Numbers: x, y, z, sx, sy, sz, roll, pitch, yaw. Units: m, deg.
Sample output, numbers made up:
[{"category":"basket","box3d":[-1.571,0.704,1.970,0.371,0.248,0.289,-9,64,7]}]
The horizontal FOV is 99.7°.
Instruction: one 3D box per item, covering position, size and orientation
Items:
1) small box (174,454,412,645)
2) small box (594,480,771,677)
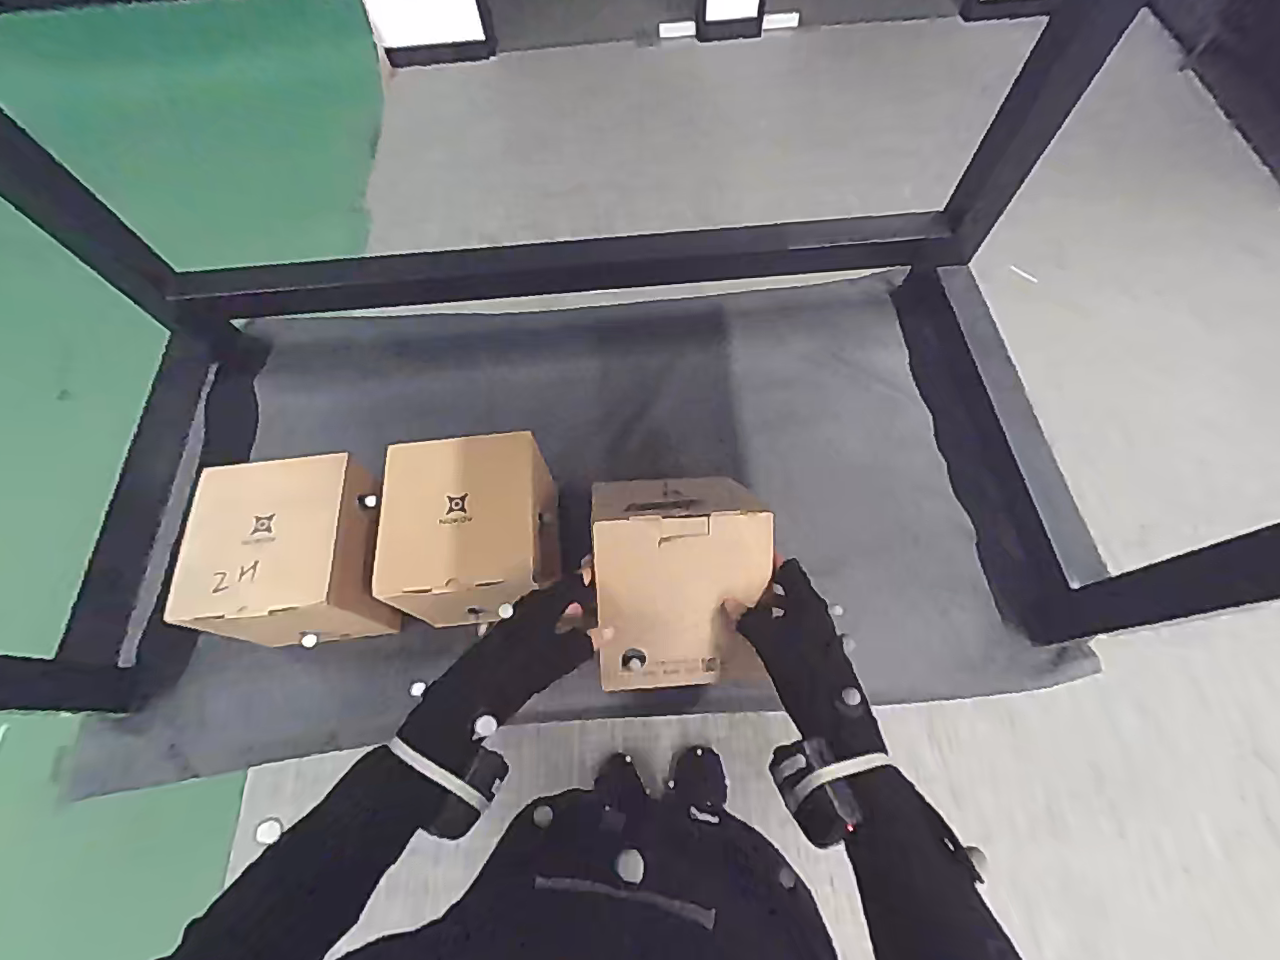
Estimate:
[{"category":"small box","box3d":[-0.392,0.090,0.651,0.168,0.176,0.179,-6,65,0]},{"category":"small box","box3d":[0.037,0.098,0.580,0.168,0.179,0.176,-2,98,-5]}]
